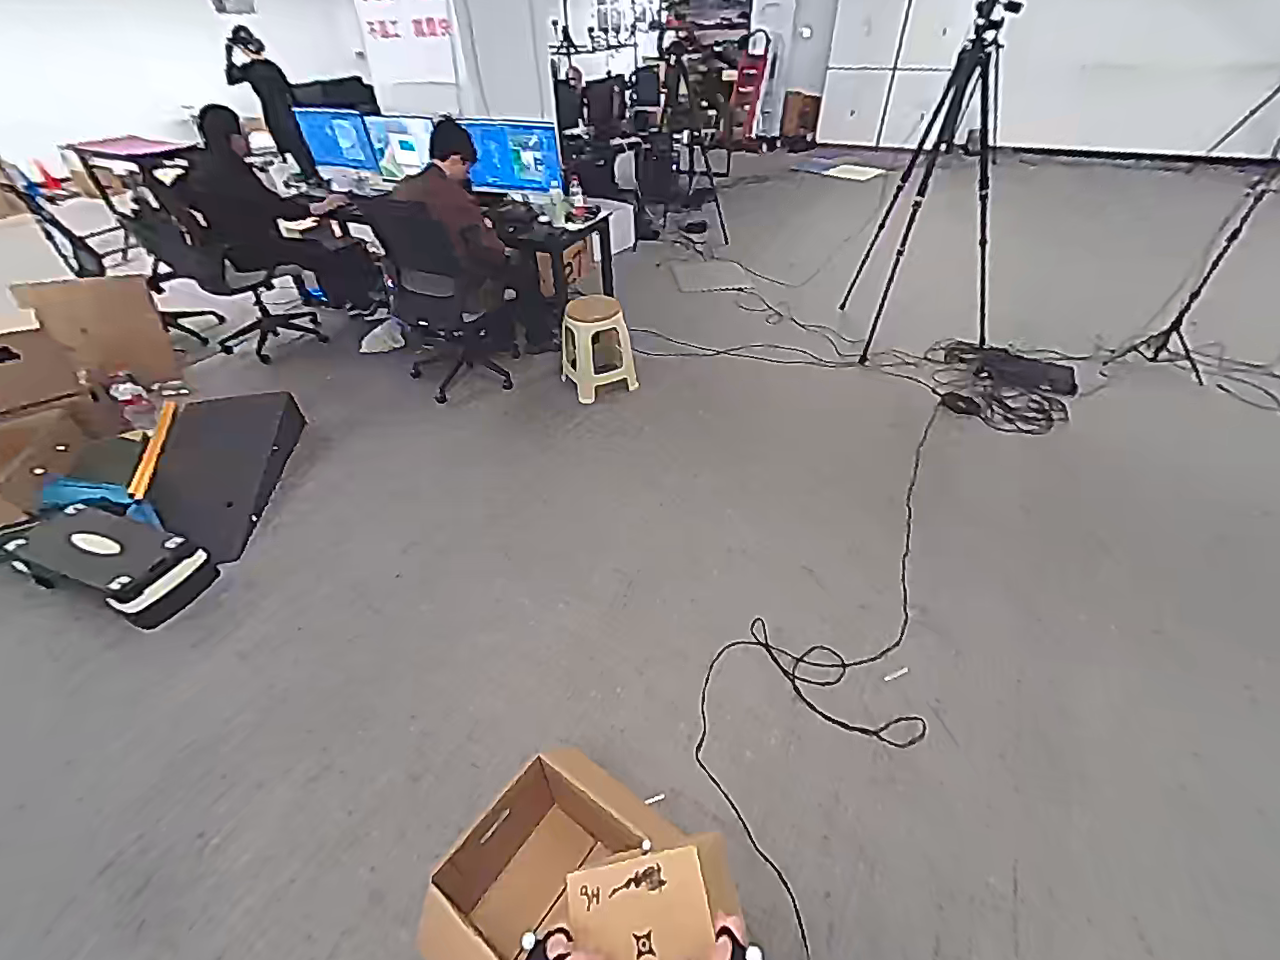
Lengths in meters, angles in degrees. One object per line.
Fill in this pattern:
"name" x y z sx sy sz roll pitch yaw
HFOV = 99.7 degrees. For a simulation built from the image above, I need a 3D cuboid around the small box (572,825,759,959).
"small box" 0.037 0.550 0.666 0.168 0.176 0.179 -22 57 9
